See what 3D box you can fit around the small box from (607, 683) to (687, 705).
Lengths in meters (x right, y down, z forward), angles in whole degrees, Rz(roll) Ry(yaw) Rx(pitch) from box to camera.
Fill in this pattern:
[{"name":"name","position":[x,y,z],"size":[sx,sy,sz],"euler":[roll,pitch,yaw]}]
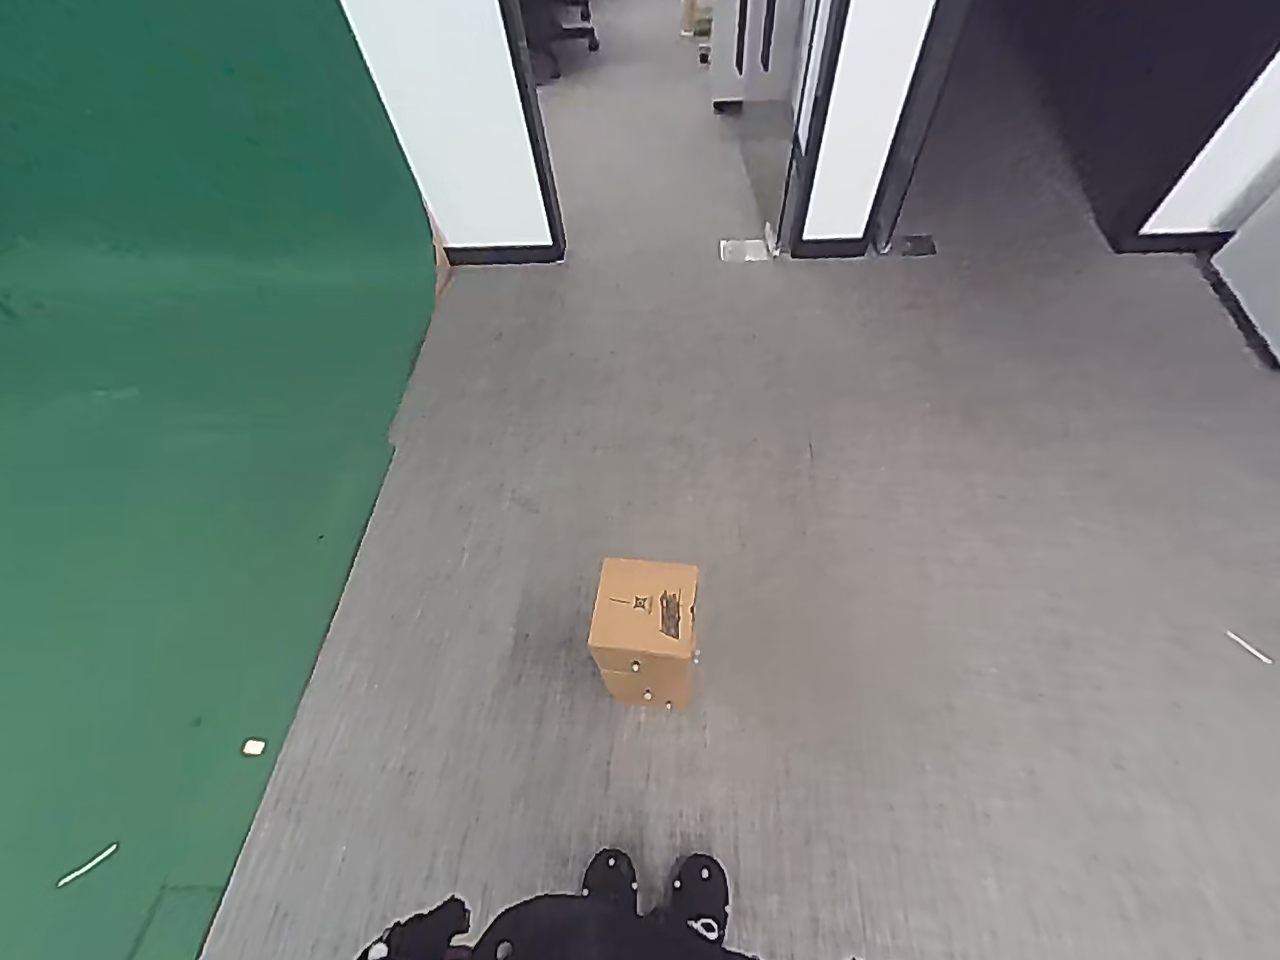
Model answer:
[{"name":"small box","position":[0.027,0.433,1.290],"size":[0.179,0.176,0.168],"euler":[1,58,7]}]

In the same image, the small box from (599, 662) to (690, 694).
[{"name":"small box","position":[0.020,0.348,1.150],"size":[0.179,0.176,0.168],"euler":[4,58,6]}]

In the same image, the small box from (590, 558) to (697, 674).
[{"name":"small box","position":[0.012,0.259,1.012],"size":[0.179,0.176,0.168],"euler":[3,58,5]}]
